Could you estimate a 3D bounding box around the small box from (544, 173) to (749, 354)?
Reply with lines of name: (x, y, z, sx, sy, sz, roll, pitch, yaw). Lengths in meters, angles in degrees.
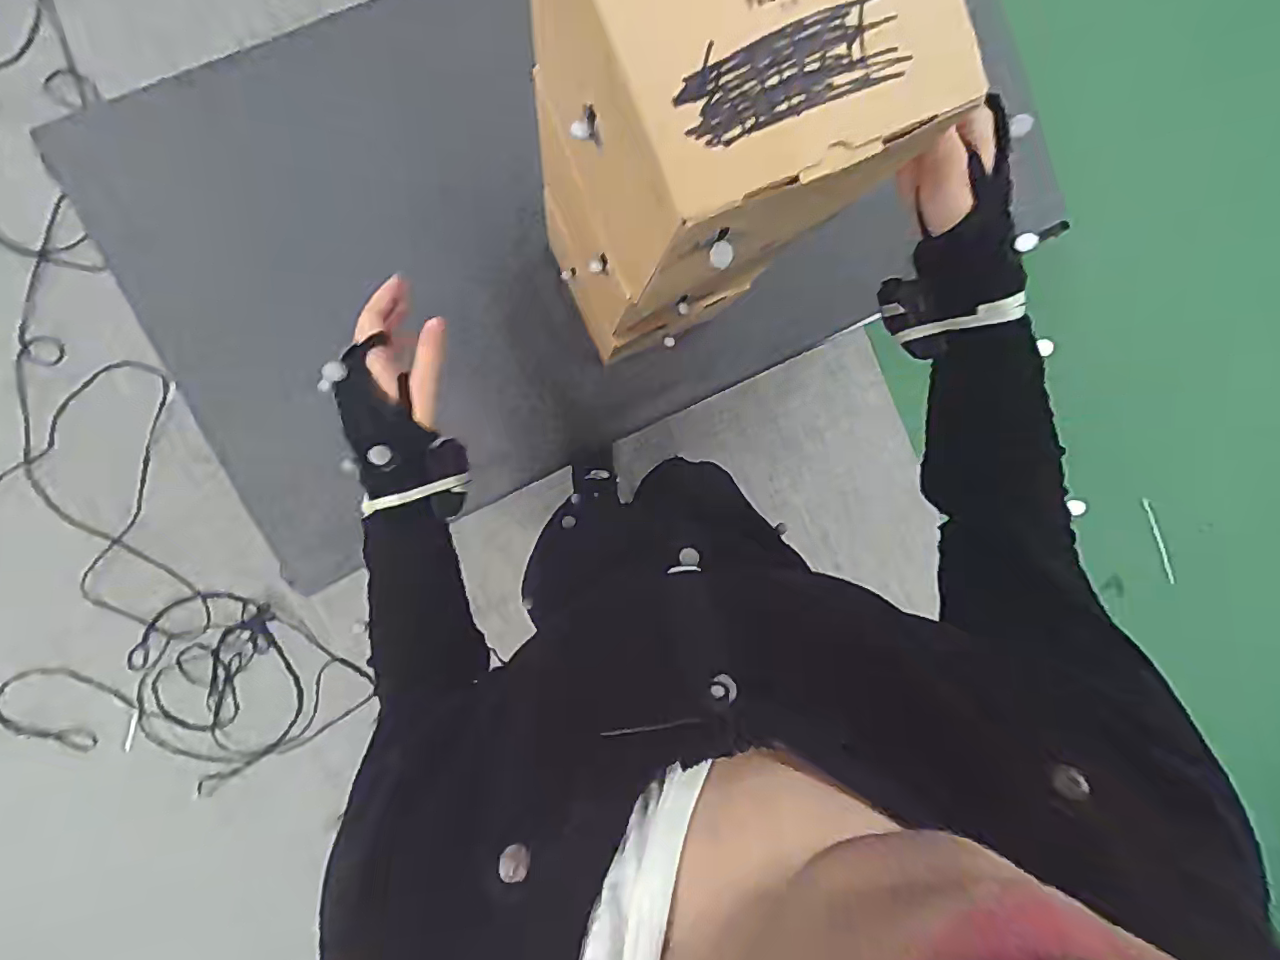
small box: (-0.001, -0.267, 0.634, 0.168, 0.176, 0.179, -25, 98, -4)

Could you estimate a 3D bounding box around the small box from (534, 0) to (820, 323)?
small box: (0.020, -0.261, 0.472, 0.168, 0.176, 0.179, -25, 98, -4)
